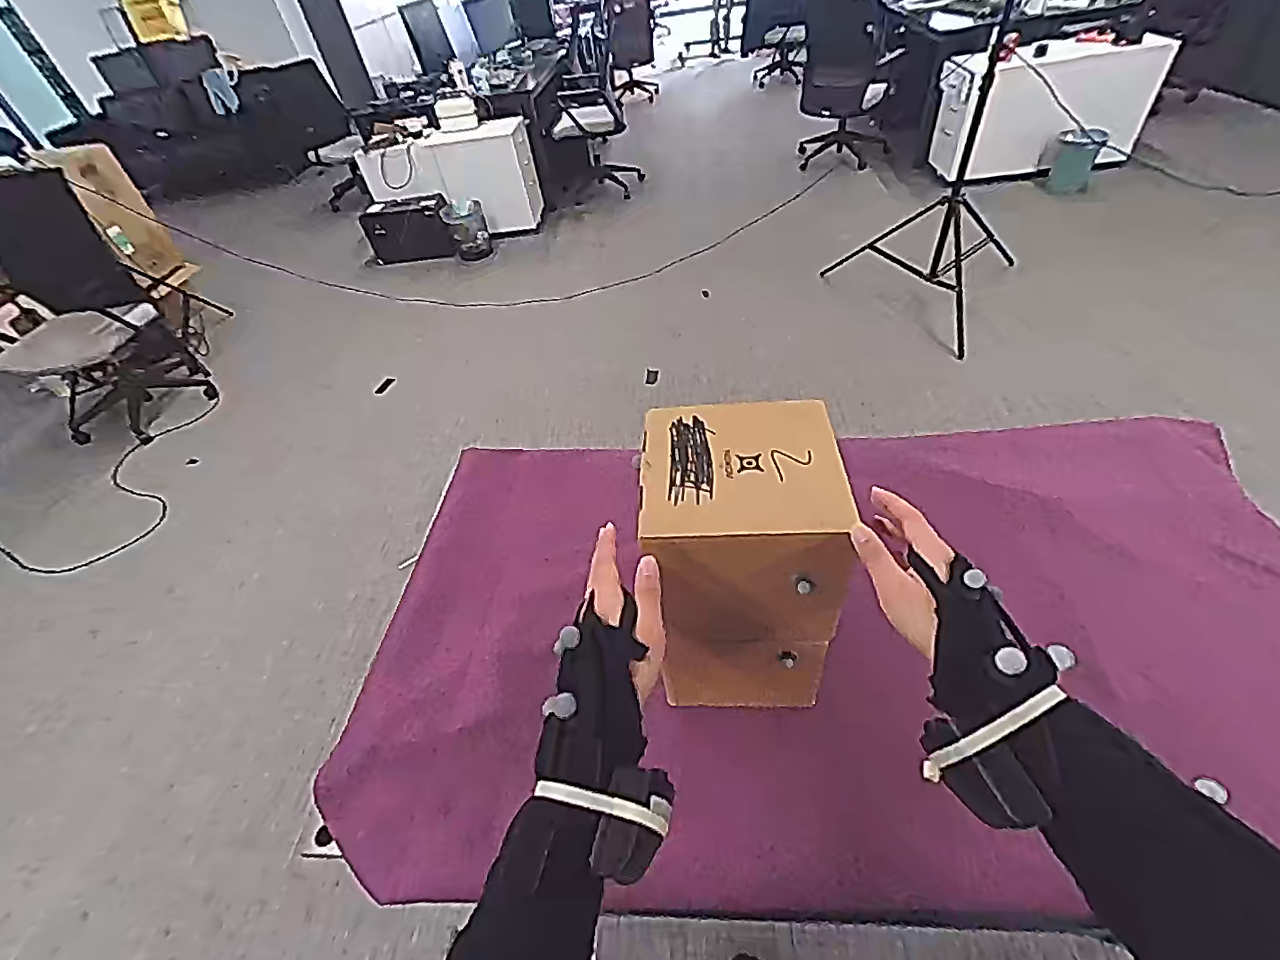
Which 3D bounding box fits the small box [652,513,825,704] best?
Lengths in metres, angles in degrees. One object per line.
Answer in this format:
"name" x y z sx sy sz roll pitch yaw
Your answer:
"small box" 0.112 0.157 0.653 0.179 0.176 0.168 -2 45 7
